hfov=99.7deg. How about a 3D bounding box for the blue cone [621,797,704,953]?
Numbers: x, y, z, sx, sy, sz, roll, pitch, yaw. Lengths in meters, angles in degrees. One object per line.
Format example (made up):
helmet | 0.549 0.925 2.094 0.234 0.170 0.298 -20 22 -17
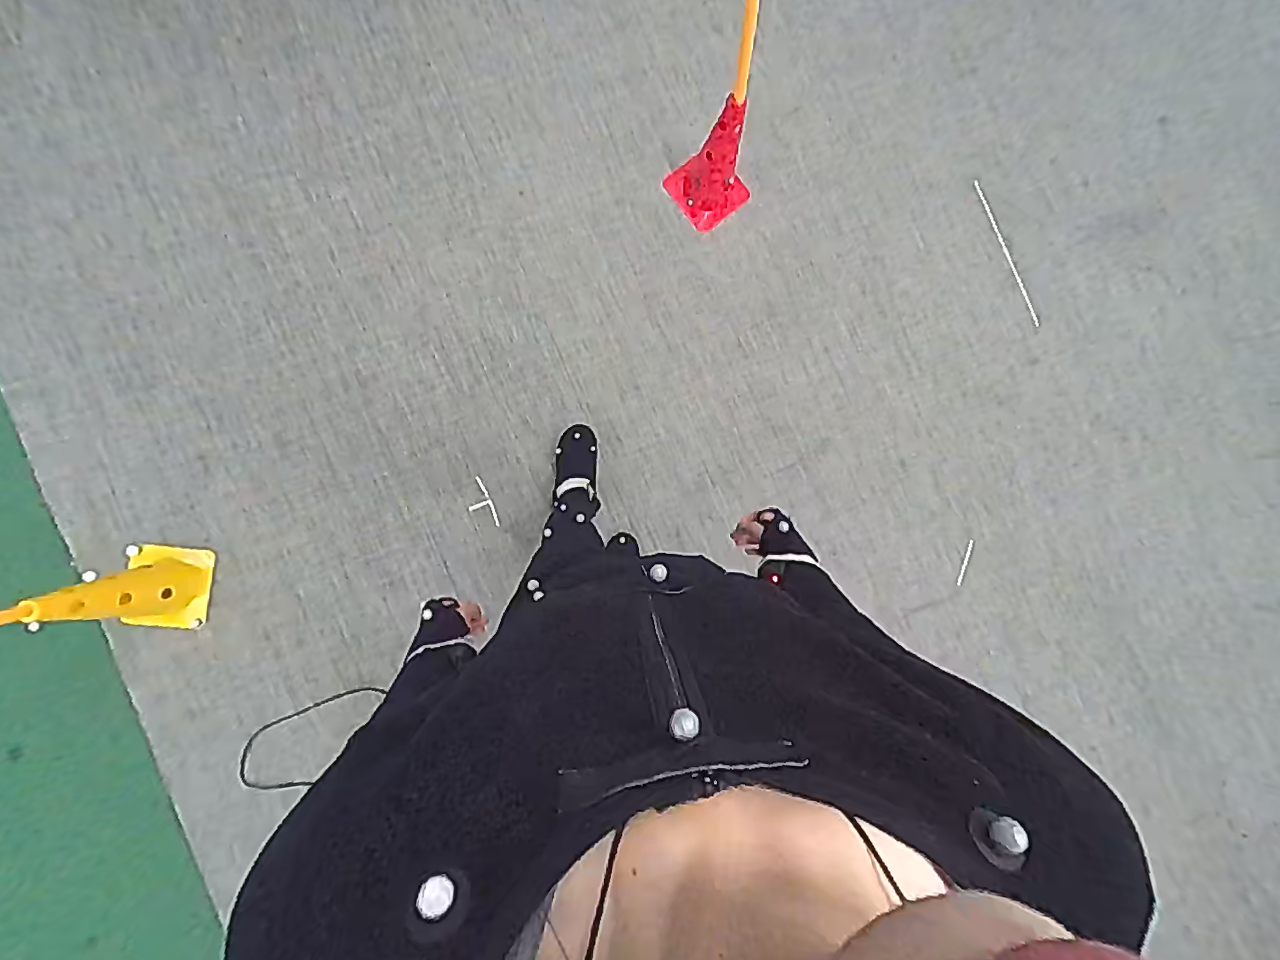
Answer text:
blue cone | 0.086 0.944 1.281 0.193 0.380 0.192 22 83 -7
